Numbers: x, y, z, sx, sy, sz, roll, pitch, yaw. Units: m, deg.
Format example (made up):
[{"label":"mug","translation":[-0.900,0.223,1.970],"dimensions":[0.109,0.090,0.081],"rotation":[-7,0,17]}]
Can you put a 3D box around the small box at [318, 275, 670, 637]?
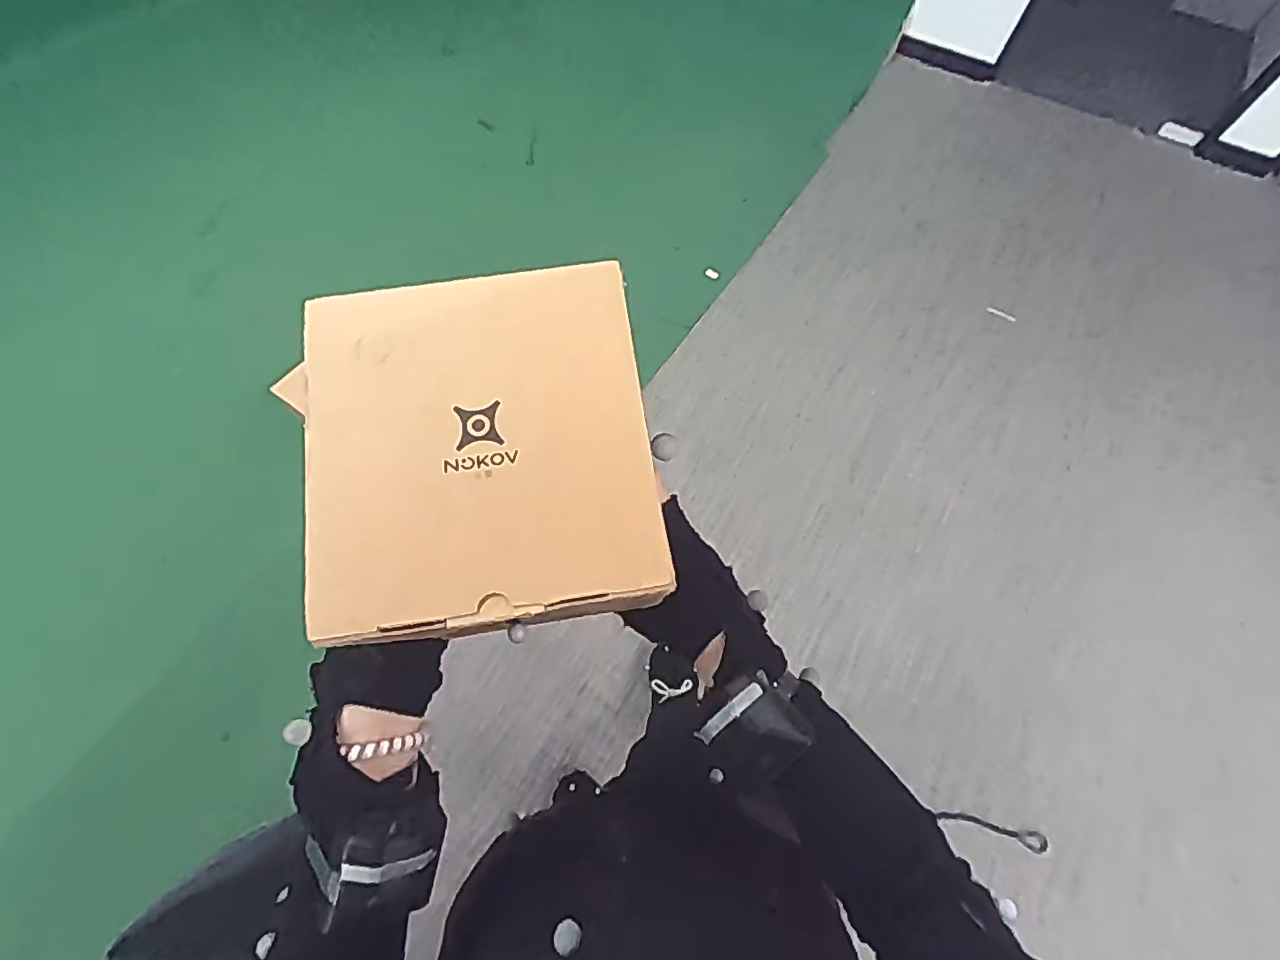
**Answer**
[{"label":"small box","translation":[-0.080,0.000,0.351],"dimensions":[0.168,0.176,0.179],"rotation":[-9,76,-3]}]
